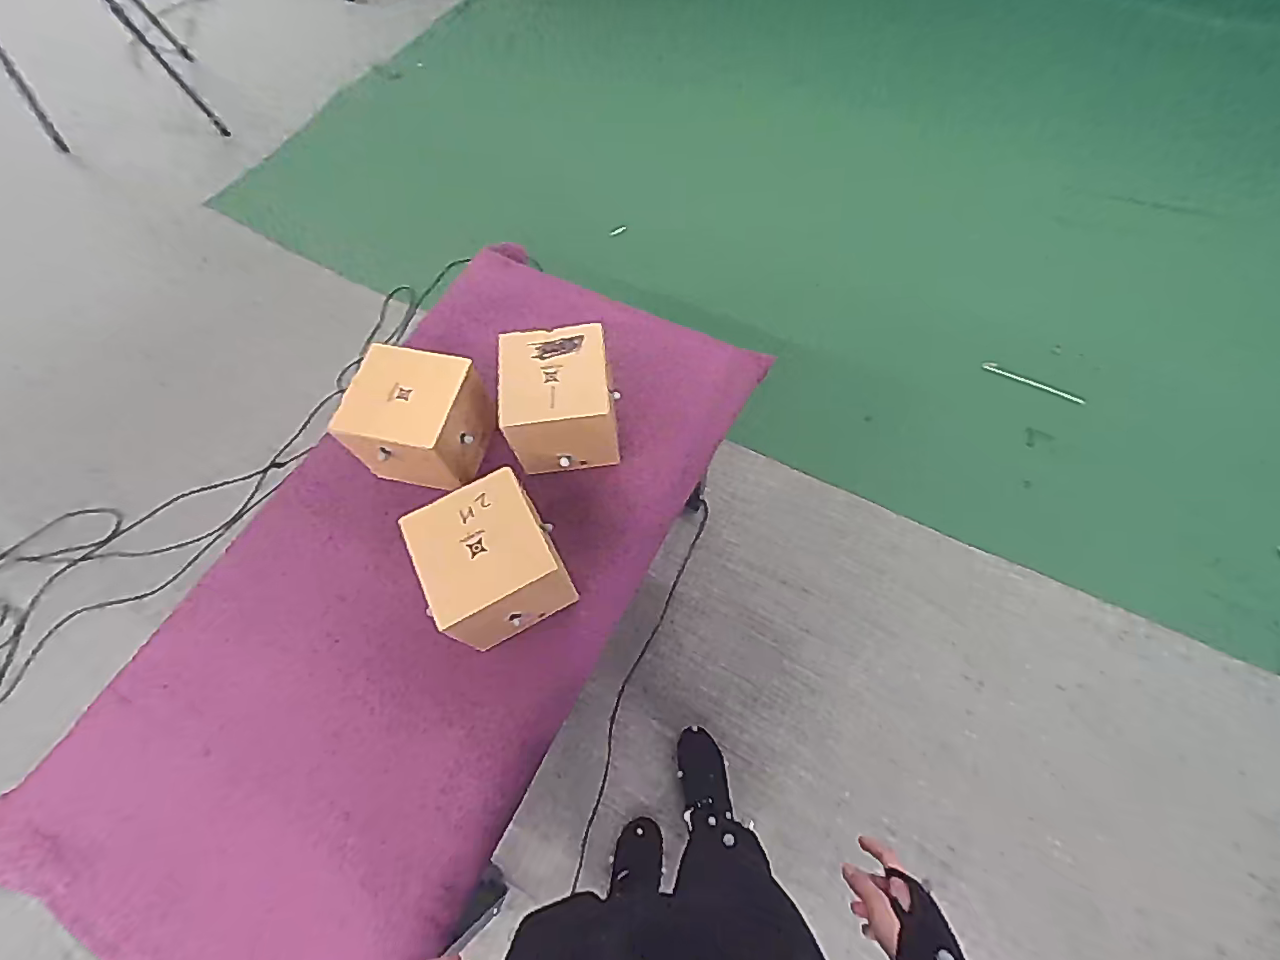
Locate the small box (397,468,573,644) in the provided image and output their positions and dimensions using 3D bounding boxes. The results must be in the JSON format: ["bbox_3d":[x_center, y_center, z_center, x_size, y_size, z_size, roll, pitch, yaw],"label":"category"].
[{"bbox_3d":[-0.212,0.119,0.776,0.168,0.176,0.179,-27,66,-10],"label":"small box"}]

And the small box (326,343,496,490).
[{"bbox_3d":[-0.360,-0.097,0.892,0.179,0.176,0.168,11,66,8],"label":"small box"}]

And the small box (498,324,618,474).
[{"bbox_3d":[-0.128,-0.128,0.891,0.168,0.176,0.179,-7,66,1],"label":"small box"}]
